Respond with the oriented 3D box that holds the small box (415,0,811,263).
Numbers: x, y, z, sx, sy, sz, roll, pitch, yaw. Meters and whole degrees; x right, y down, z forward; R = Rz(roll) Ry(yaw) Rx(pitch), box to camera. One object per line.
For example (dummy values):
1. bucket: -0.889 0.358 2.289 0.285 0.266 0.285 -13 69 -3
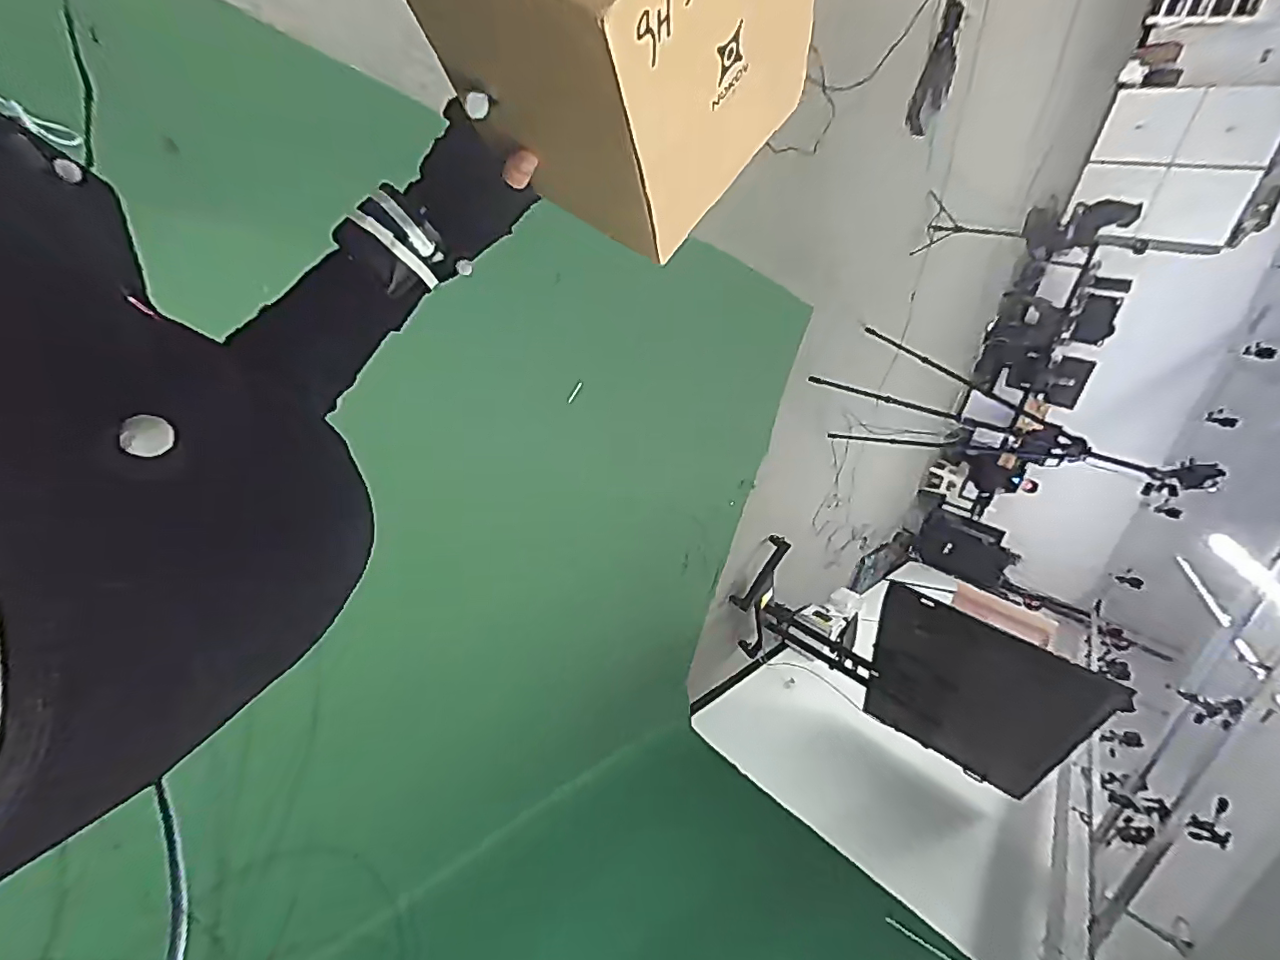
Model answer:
1. small box: -0.013 -0.281 0.329 0.168 0.176 0.179 -52 166 -4
